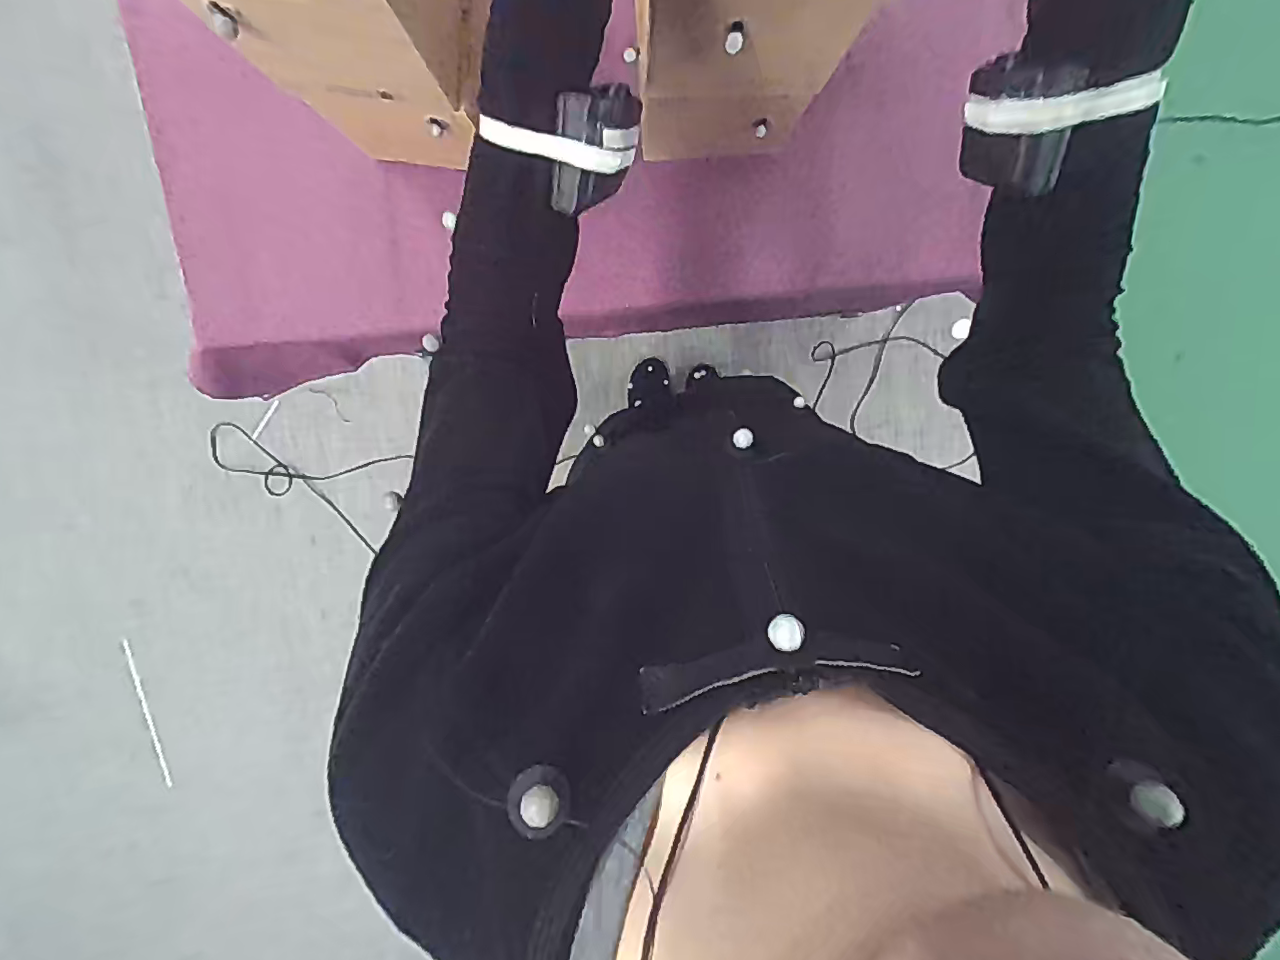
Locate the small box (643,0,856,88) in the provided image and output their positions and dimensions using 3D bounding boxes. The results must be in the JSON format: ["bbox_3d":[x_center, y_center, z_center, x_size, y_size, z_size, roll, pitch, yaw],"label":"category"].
[{"bbox_3d":[0.089,-0.453,0.441,0.179,0.176,0.168,-1,99,0],"label":"small box"}]

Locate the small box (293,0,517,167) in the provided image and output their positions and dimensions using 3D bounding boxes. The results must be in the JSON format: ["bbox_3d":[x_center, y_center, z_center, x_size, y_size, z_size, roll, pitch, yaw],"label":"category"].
[{"bbox_3d":[-0.245,-0.472,0.598,0.179,0.176,0.168,6,99,-2],"label":"small box"}]

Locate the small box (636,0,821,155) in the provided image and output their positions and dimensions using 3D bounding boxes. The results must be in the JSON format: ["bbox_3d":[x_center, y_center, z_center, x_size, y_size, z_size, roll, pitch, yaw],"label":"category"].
[{"bbox_3d":[0.088,-0.487,0.602,0.179,0.176,0.168,-3,99,0],"label":"small box"}]
